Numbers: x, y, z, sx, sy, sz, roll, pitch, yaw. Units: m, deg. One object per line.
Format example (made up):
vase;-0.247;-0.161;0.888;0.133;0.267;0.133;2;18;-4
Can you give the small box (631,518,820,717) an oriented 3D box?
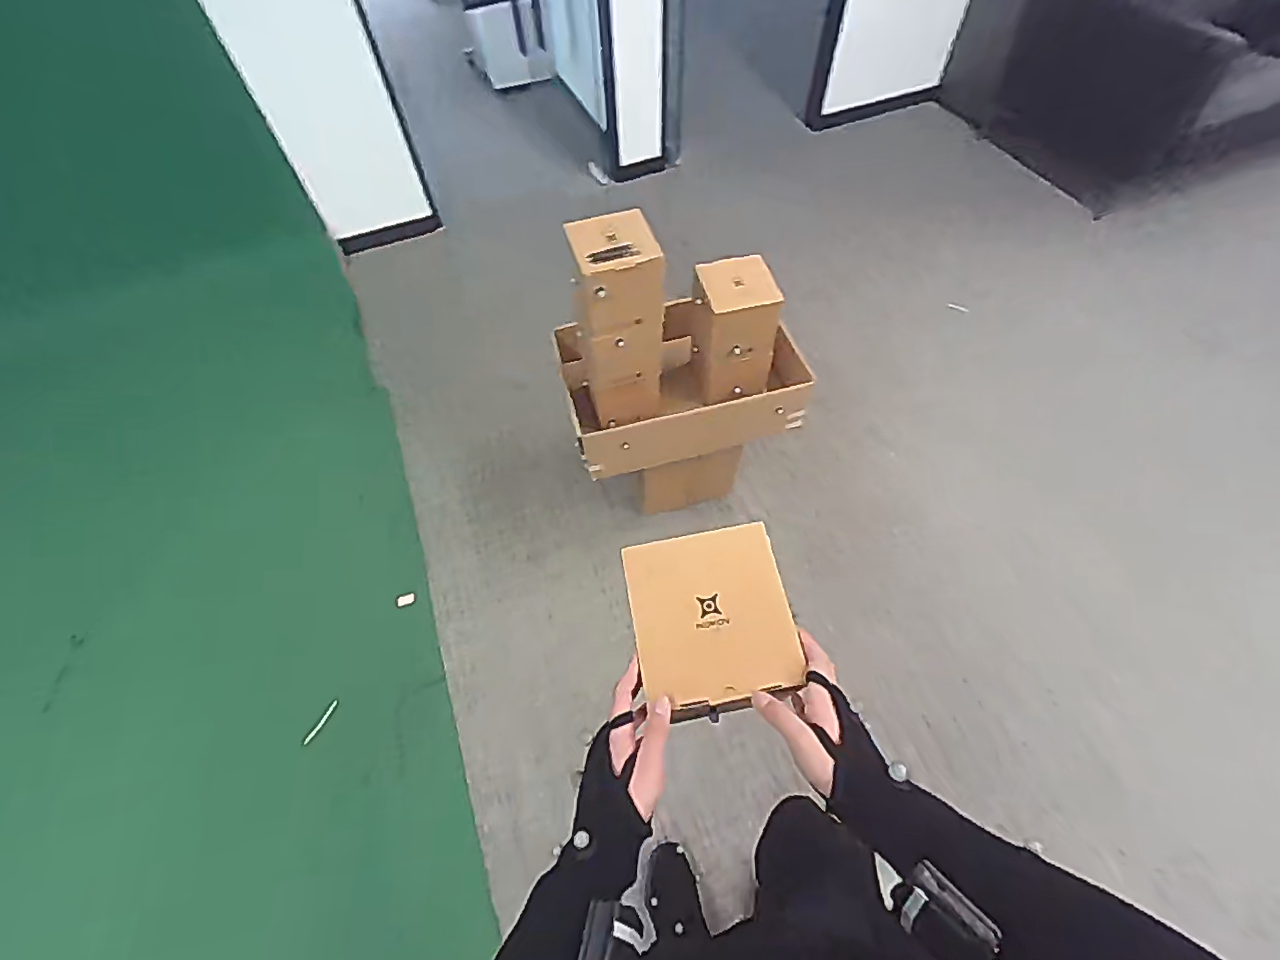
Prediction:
small box;0.085;0.166;0.629;0.168;0.176;0.179;-10;63;-2

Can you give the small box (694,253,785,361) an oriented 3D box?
small box;0.232;-0.419;1.318;0.168;0.176;0.179;-11;59;-5

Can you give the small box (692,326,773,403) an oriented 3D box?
small box;0.241;-0.335;1.458;0.168;0.176;0.179;-11;59;-4

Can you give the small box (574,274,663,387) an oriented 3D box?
small box;-0.050;-0.353;1.286;0.168;0.176;0.179;-16;59;-8
